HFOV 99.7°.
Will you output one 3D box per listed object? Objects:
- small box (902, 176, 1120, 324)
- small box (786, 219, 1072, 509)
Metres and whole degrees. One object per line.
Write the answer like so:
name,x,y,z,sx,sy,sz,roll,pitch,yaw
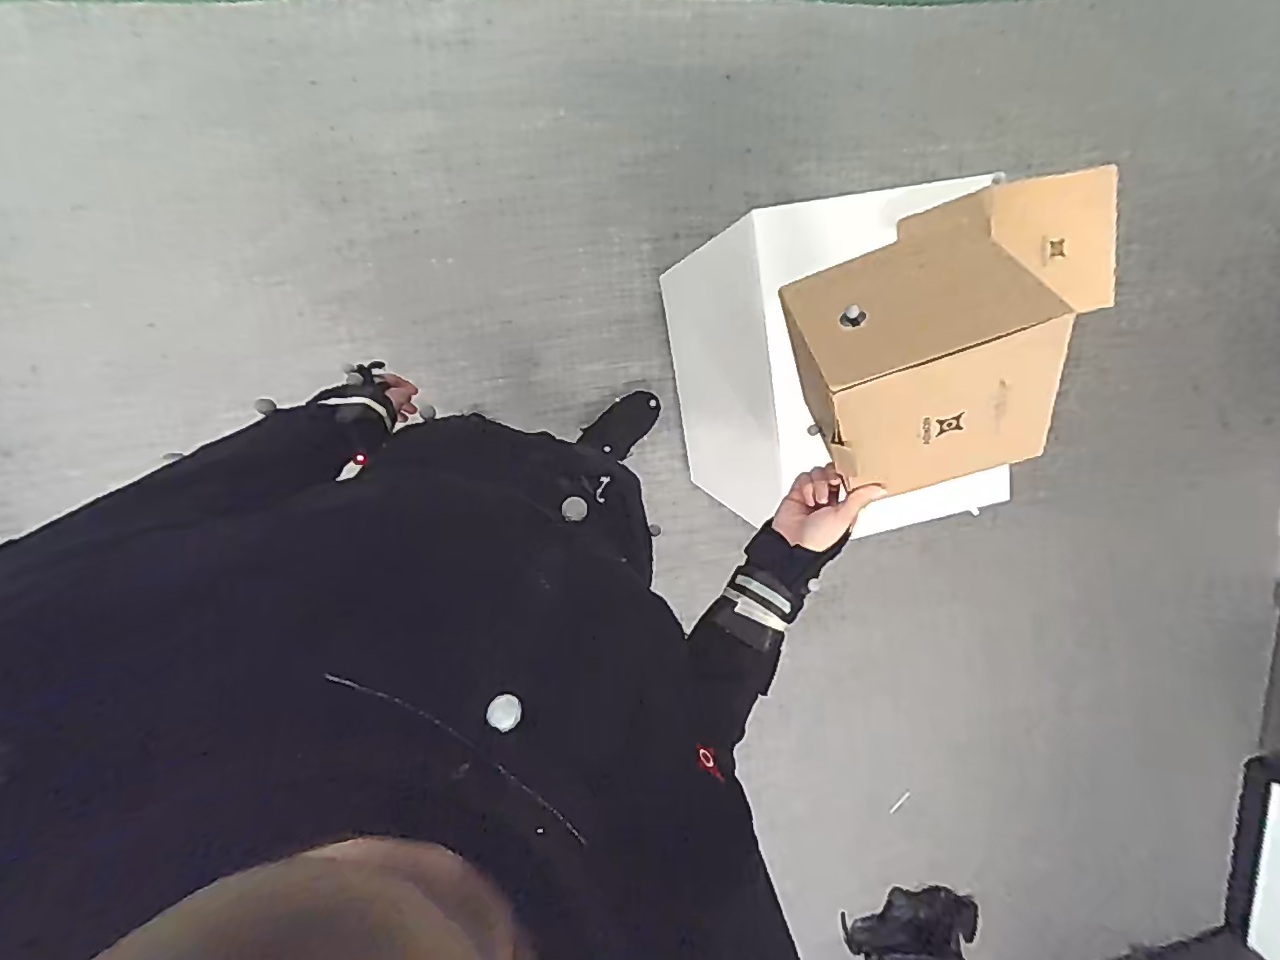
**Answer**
small box,0.485,-0.285,0.727,0.179,0.176,0.168,-13,104,-7
small box,0.249,-0.105,0.508,0.179,0.176,0.168,-20,137,14
